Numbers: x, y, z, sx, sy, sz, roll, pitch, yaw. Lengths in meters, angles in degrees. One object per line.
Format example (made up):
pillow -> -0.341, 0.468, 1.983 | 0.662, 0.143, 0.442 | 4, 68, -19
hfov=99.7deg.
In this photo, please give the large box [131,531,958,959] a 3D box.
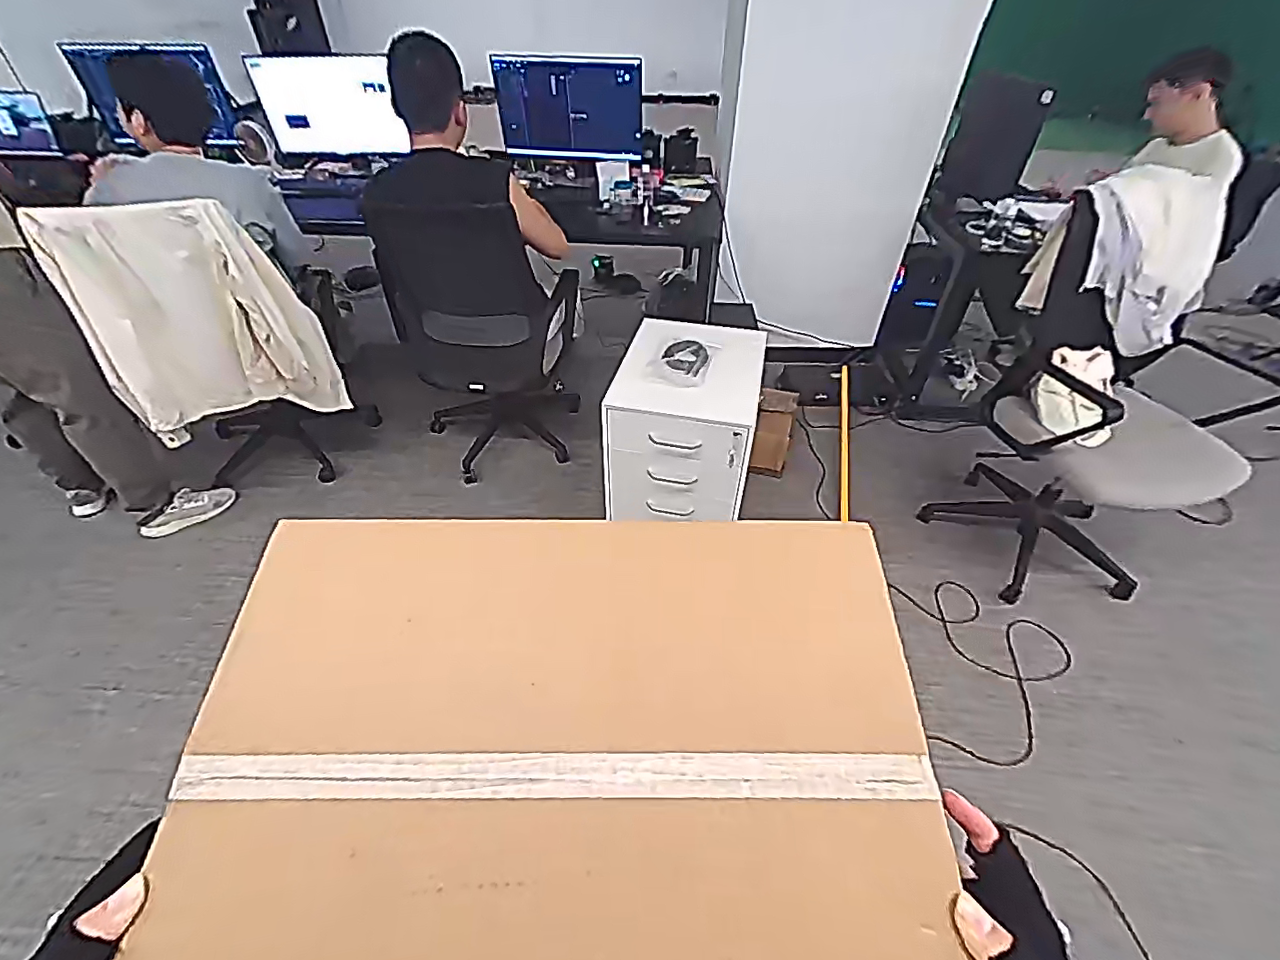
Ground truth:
large box -> -0.046, 0.247, 0.424 | 0.408, 0.320, 0.320 | 0, 58, 0
